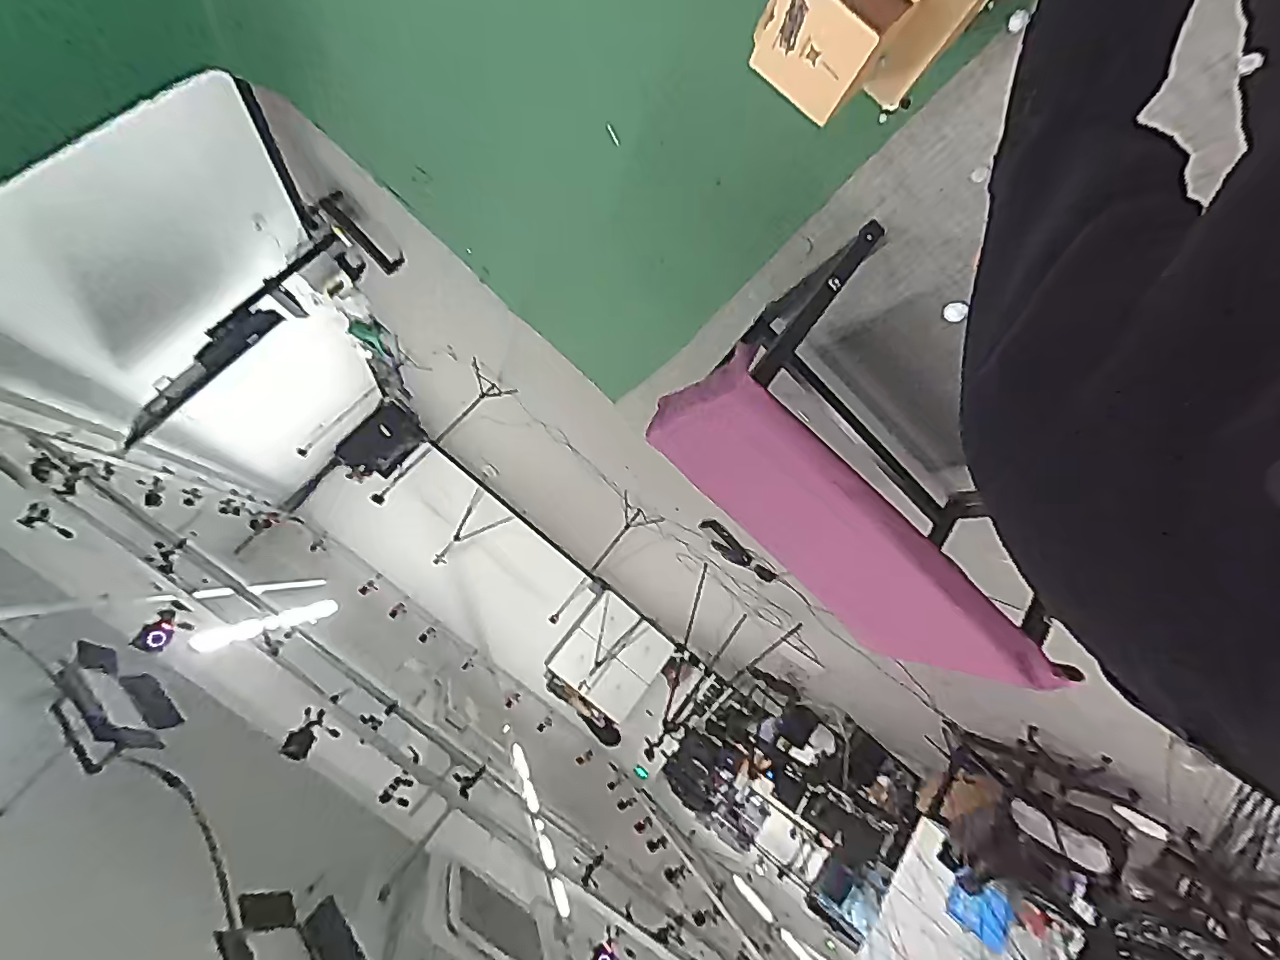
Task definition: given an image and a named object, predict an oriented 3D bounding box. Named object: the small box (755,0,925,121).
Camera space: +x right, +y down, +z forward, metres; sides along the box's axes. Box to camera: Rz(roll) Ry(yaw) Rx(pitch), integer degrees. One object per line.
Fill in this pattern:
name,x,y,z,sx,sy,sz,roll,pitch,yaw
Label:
small box,0.334,-0.765,0.905,0.179,0.176,0.168,40,162,-2
